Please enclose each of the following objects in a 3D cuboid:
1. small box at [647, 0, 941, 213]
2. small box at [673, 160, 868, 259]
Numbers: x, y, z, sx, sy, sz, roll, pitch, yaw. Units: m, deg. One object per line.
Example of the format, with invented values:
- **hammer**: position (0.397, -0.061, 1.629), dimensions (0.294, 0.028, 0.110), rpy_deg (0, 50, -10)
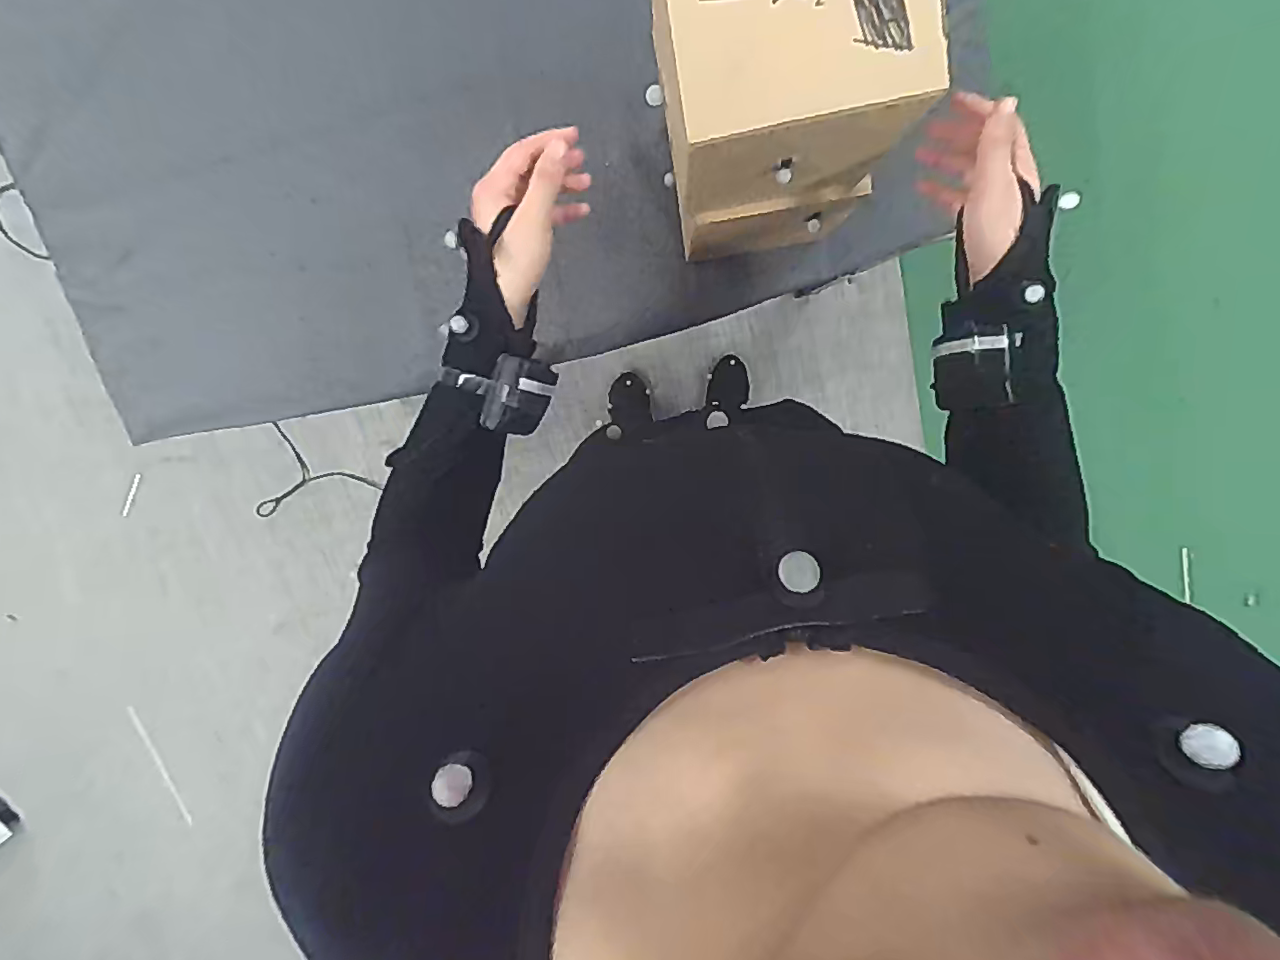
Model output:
- **small box**: position (0.100, -0.330, 0.419), dimensions (0.179, 0.176, 0.168), rpy_deg (-9, 100, 5)
- **small box**: position (0.122, -0.351, 0.582), dimensions (0.179, 0.176, 0.168), rpy_deg (-8, 100, 4)
